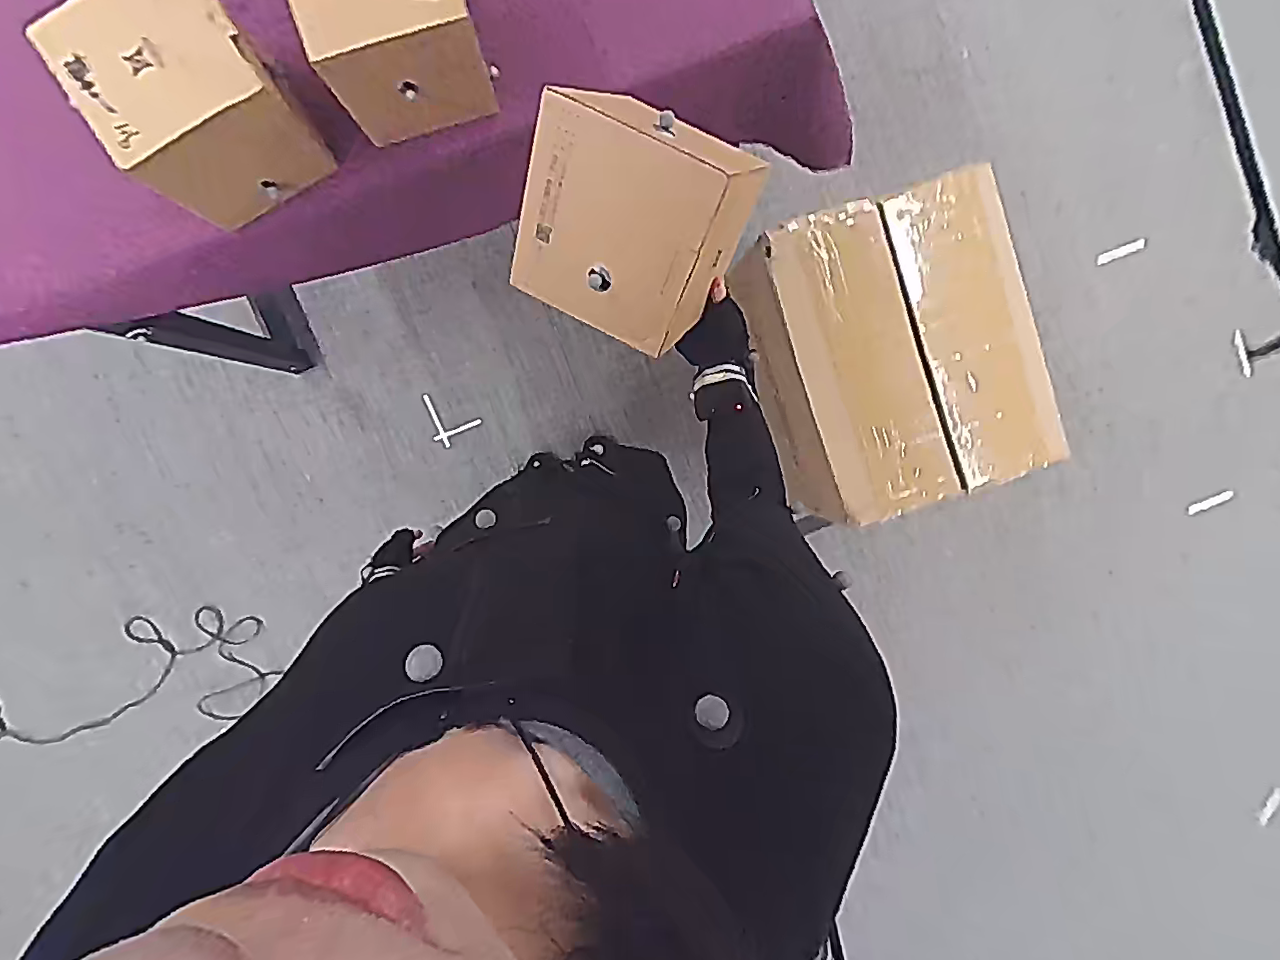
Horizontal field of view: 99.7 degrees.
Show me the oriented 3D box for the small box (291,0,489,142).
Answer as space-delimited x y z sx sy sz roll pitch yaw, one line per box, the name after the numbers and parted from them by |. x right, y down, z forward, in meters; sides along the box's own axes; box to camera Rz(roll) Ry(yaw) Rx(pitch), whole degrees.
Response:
-0.294 -0.549 0.647 0.179 0.176 0.168 -18 94 -2 | small box

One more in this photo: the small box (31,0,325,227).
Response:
-0.513 -0.442 0.640 0.179 0.176 0.168 -32 94 -3 | small box

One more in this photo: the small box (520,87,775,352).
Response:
0.006 -0.256 0.531 0.176 0.179 0.168 30 128 6 | small box
